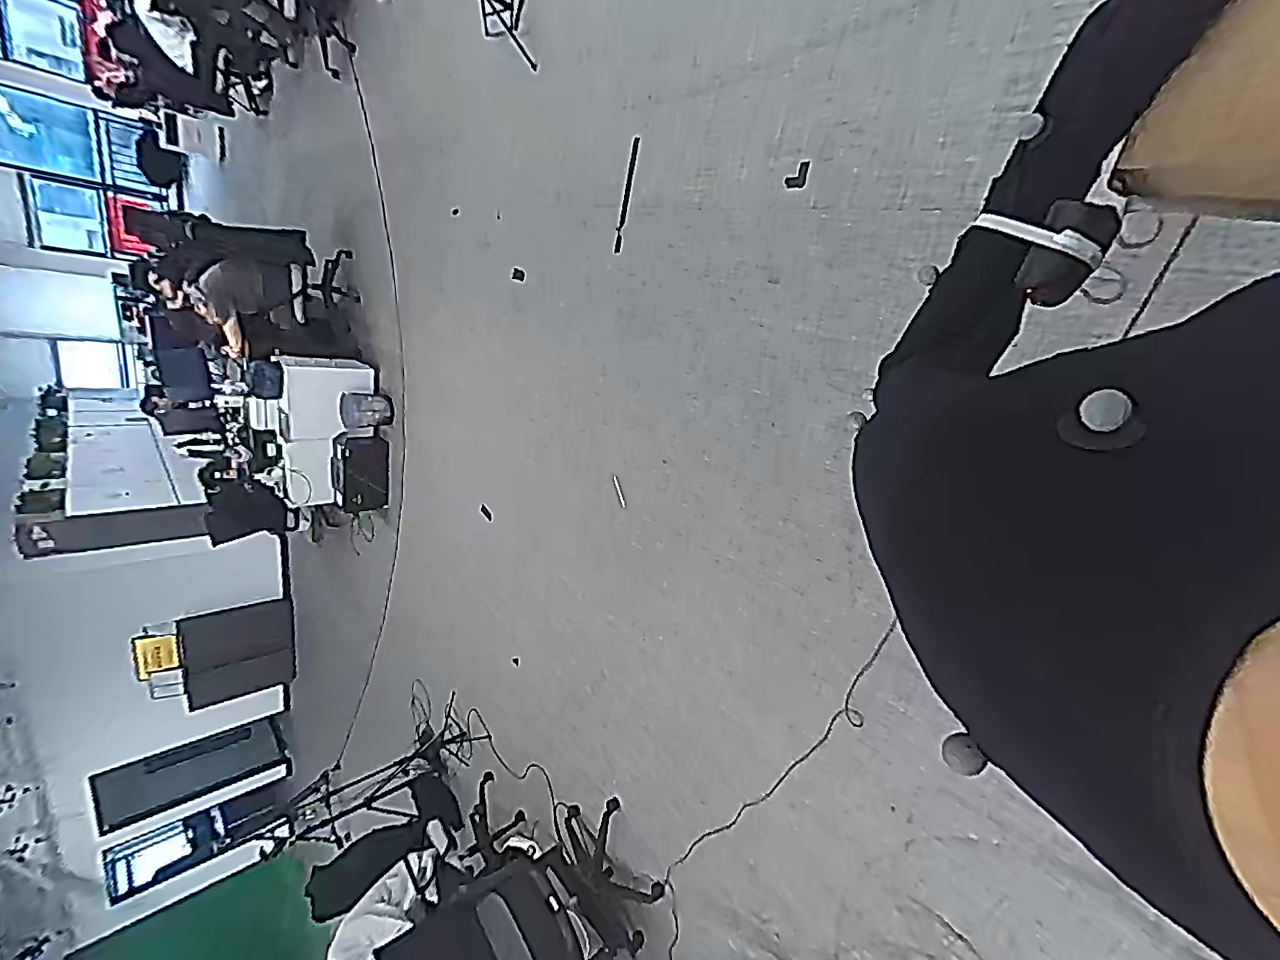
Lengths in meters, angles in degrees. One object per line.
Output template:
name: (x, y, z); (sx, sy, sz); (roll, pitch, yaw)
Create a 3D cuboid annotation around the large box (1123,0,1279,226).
large box: (0.599, -0.303, 0.295); (0.408, 0.320, 0.320); (30, 128, 38)
